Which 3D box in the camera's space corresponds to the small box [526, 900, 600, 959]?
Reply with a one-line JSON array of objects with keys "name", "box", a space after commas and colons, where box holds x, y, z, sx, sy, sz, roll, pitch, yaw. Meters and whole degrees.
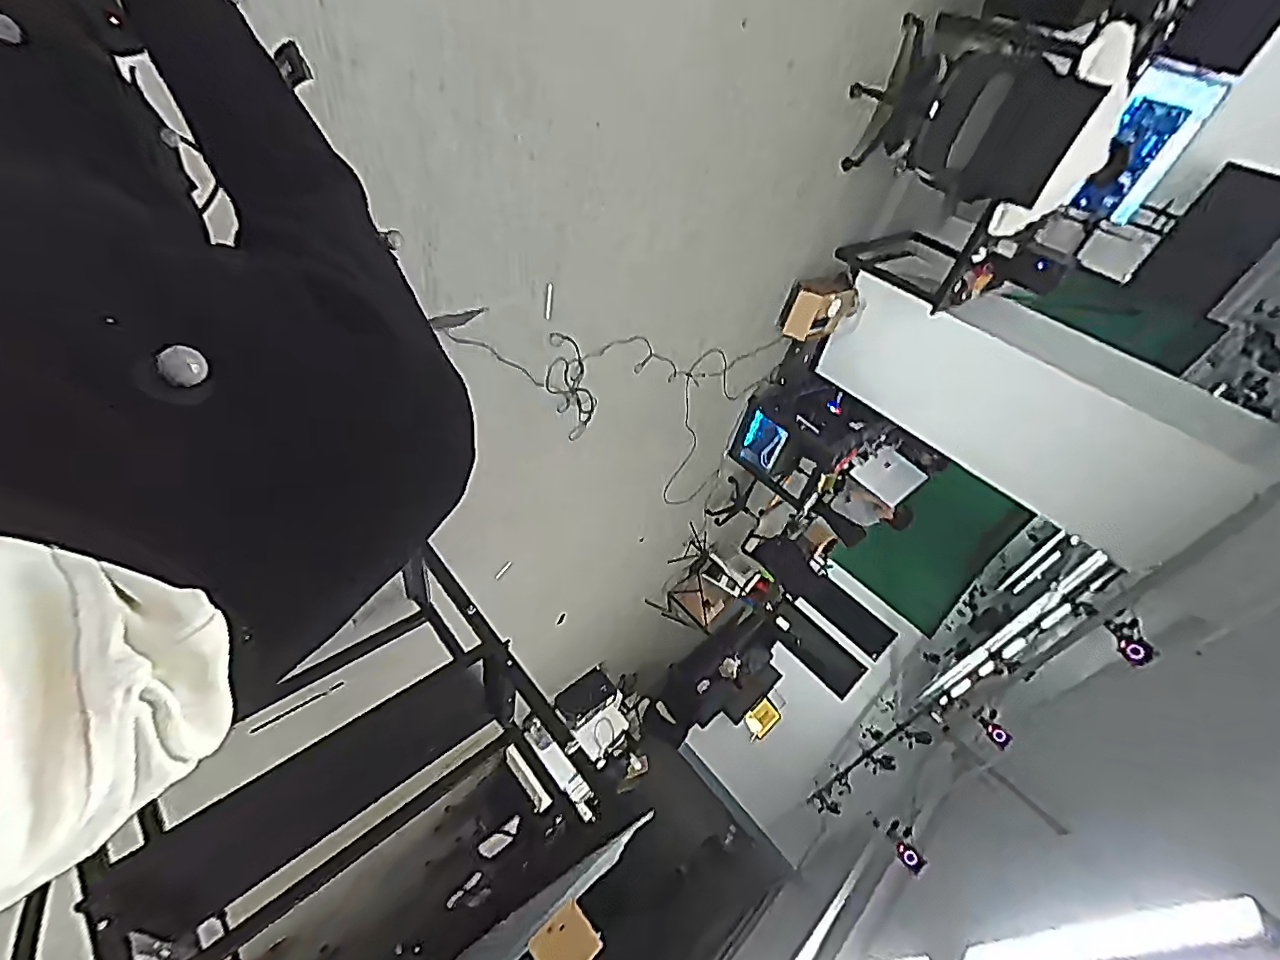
[{"name": "small box", "box": [-0.249, 1.482, 1.715, 0.168, 0.176, 0.179, -28, 146, -35]}]
